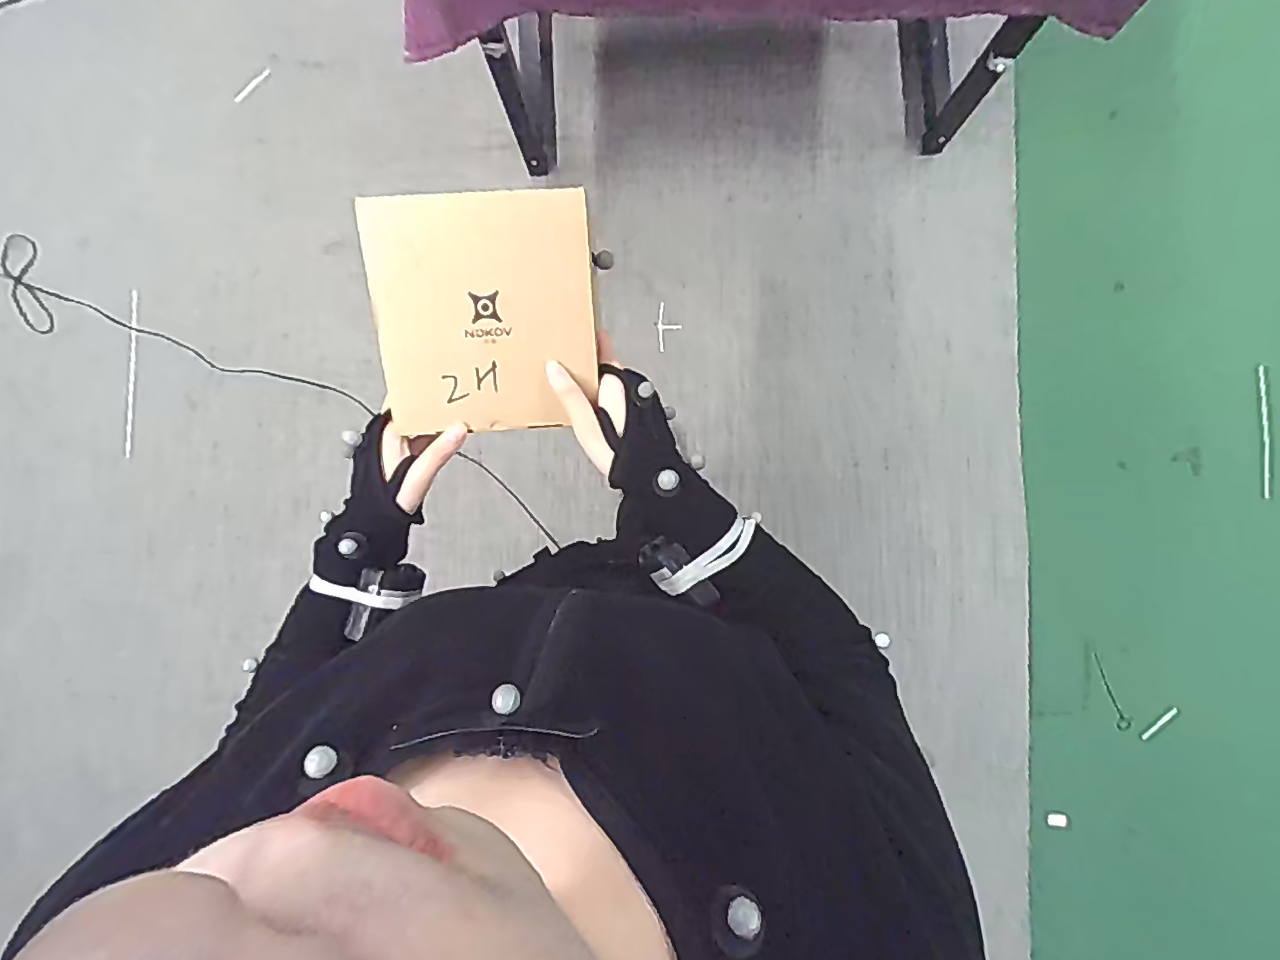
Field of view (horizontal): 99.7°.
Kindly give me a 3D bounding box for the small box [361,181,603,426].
[{"bbox_3d":[-0.121,-0.153,0.491,0.168,0.176,0.179,-4,107,-1],"label":"small box"}]
